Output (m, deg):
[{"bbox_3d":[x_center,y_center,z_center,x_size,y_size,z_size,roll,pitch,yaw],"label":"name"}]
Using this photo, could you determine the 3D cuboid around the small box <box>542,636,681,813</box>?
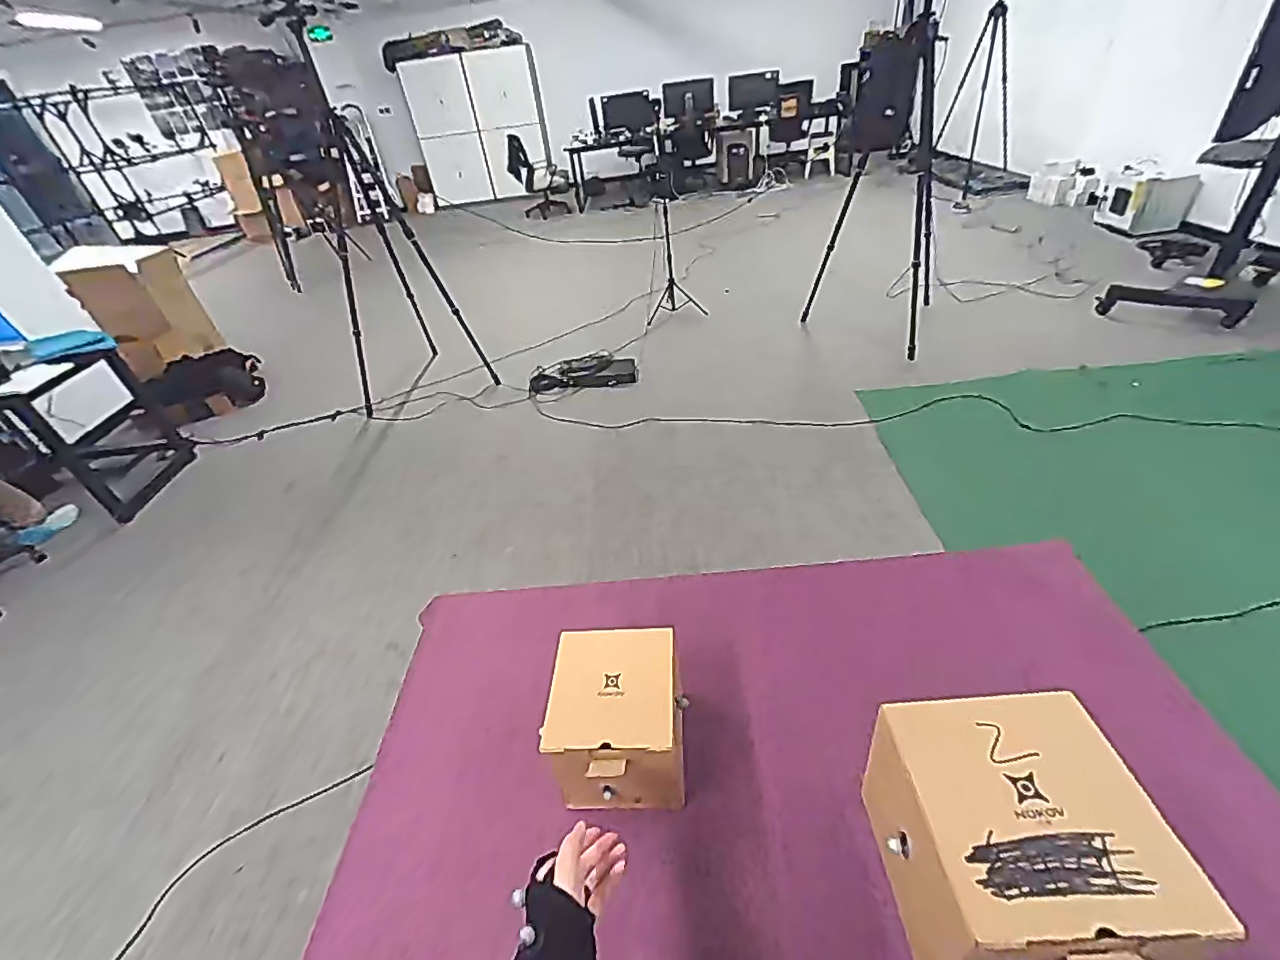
[{"bbox_3d":[-0.030,0.348,0.776,0.168,0.176,0.179,-4,38,6],"label":"small box"}]
